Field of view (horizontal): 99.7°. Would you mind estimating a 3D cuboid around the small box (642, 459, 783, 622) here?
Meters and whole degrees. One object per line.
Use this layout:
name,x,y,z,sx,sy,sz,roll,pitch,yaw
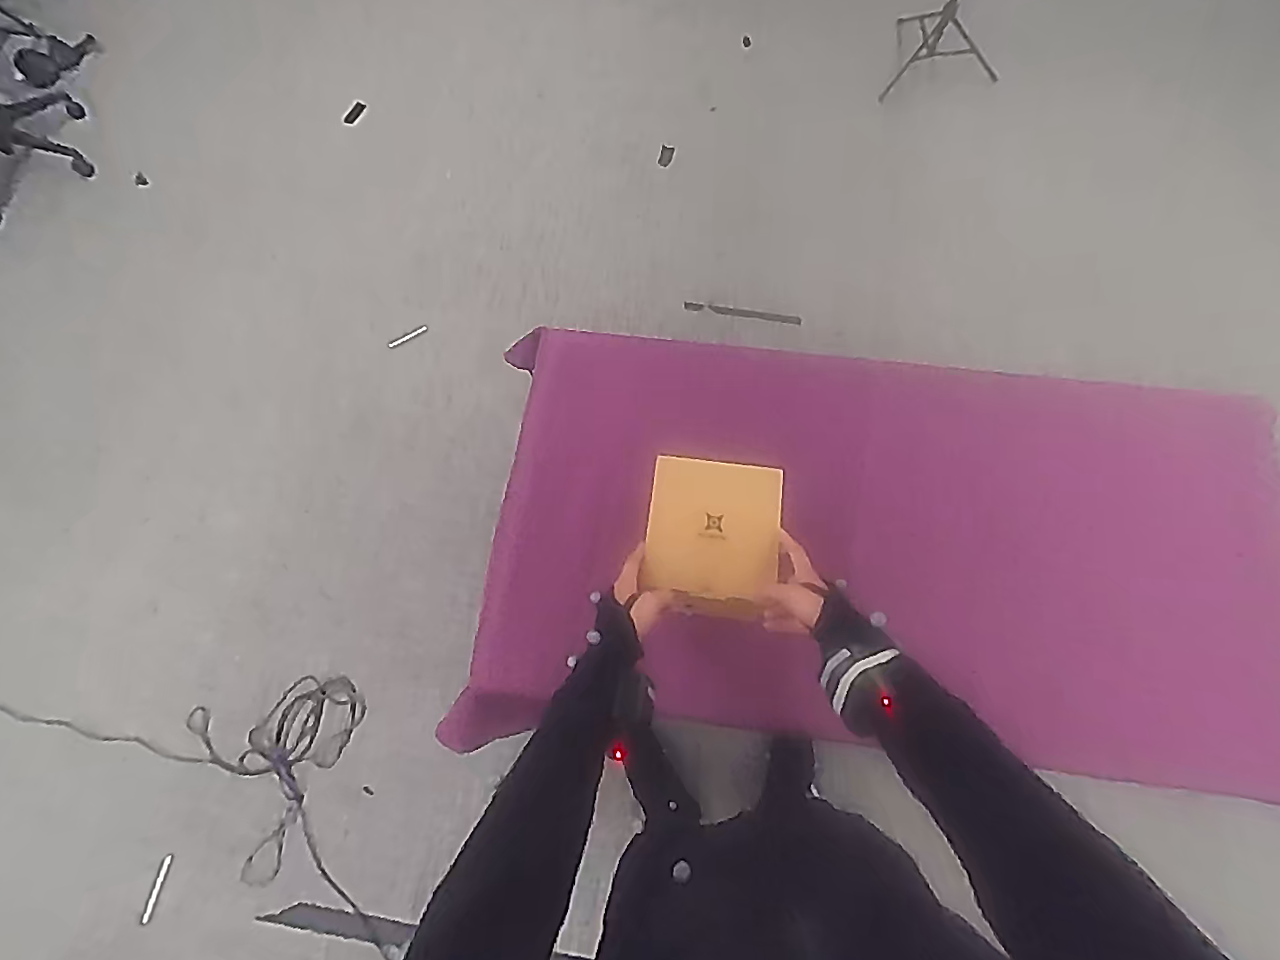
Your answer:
small box,0.093,0.090,0.745,0.168,0.176,0.179,7,71,3
